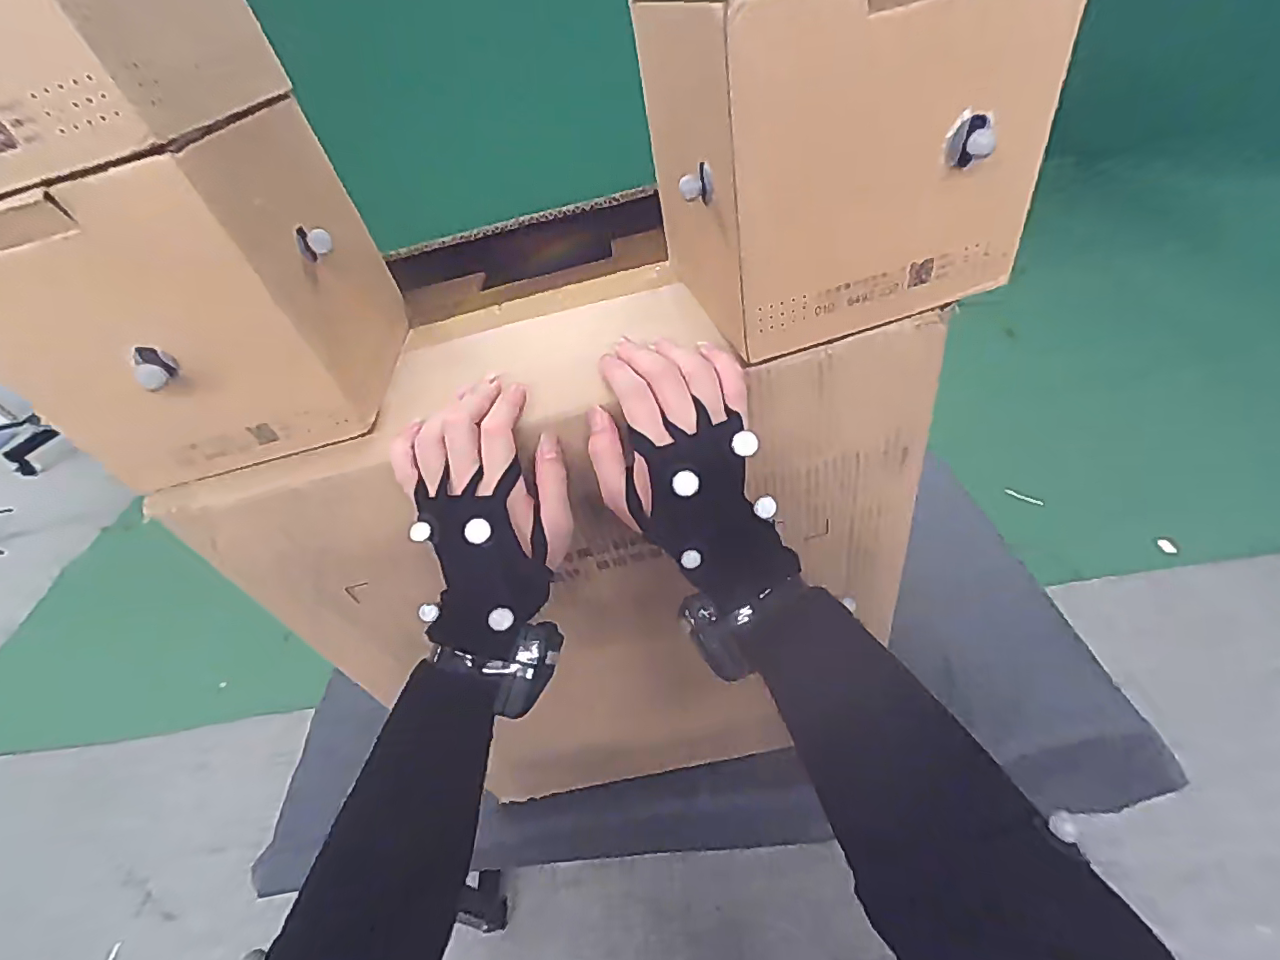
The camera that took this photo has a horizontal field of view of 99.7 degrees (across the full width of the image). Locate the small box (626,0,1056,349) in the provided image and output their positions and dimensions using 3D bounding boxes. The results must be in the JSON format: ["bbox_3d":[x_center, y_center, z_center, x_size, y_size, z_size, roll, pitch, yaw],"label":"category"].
[{"bbox_3d":[0.102,-0.197,0.327,0.168,0.176,0.179,-17,42,-3],"label":"small box"}]

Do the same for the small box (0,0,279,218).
[{"bbox_3d":[-0.316,-0.234,0.252,0.168,0.176,0.179,-15,43,3],"label":"small box"}]

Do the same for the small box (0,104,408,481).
[{"bbox_3d":[-0.281,-0.118,0.364,0.168,0.176,0.179,-15,43,2],"label":"small box"}]
